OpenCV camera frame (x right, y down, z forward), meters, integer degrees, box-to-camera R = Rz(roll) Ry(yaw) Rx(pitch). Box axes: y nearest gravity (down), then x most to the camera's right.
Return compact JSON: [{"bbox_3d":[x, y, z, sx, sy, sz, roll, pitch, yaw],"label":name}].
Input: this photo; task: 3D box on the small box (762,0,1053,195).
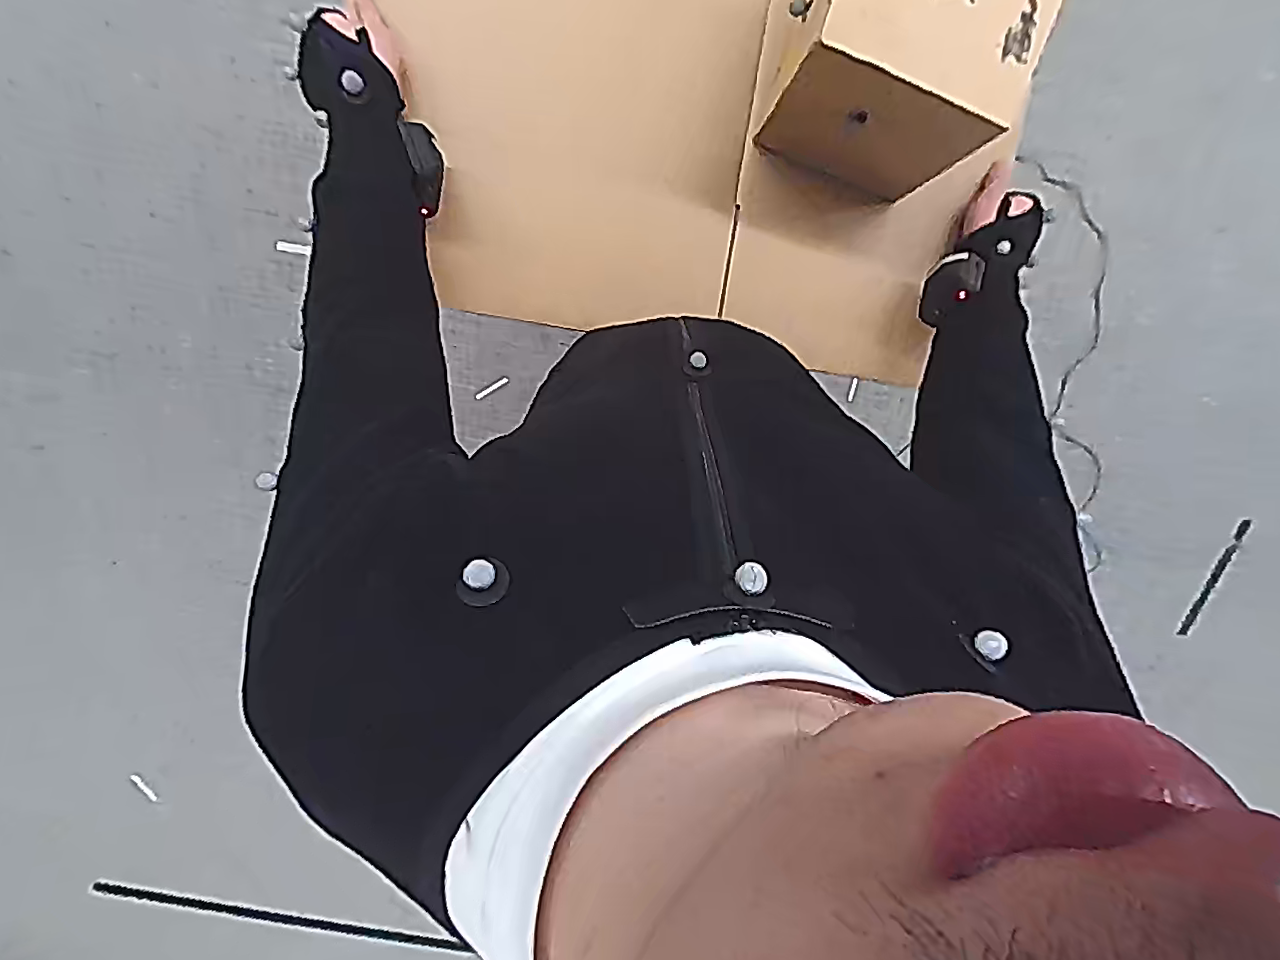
[{"bbox_3d":[0.234,-0.398,0.501,0.179,0.176,0.168,18,97,-6],"label":"small box"}]
